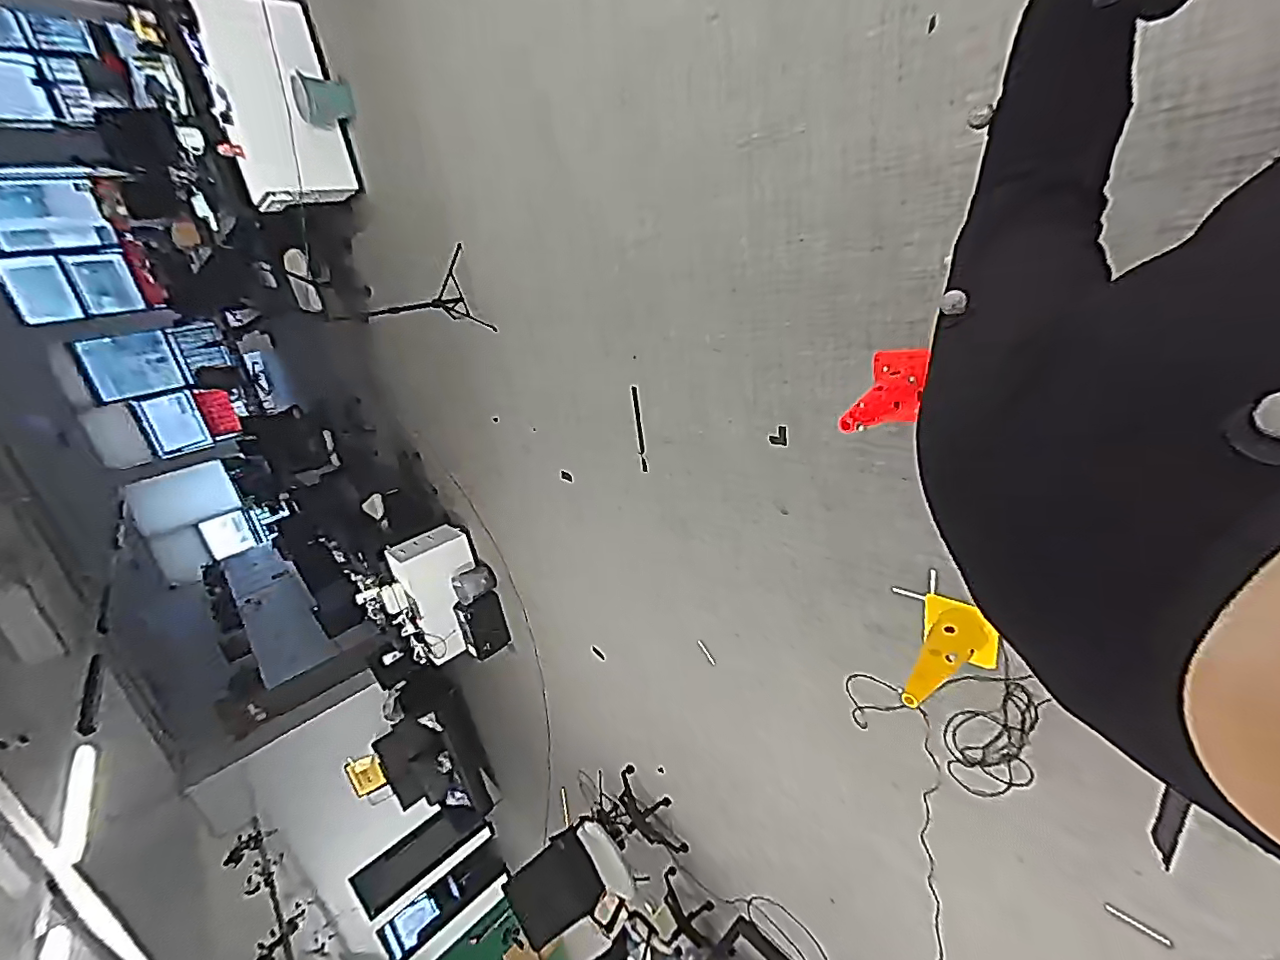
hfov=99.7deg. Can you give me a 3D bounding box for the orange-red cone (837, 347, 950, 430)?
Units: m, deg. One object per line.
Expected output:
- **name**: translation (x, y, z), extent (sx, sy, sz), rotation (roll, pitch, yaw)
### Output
- **orange-red cone**: translation (0.605, -0.195, 1.359), extent (0.198, 0.360, 0.199), rotation (13, 122, 48)
